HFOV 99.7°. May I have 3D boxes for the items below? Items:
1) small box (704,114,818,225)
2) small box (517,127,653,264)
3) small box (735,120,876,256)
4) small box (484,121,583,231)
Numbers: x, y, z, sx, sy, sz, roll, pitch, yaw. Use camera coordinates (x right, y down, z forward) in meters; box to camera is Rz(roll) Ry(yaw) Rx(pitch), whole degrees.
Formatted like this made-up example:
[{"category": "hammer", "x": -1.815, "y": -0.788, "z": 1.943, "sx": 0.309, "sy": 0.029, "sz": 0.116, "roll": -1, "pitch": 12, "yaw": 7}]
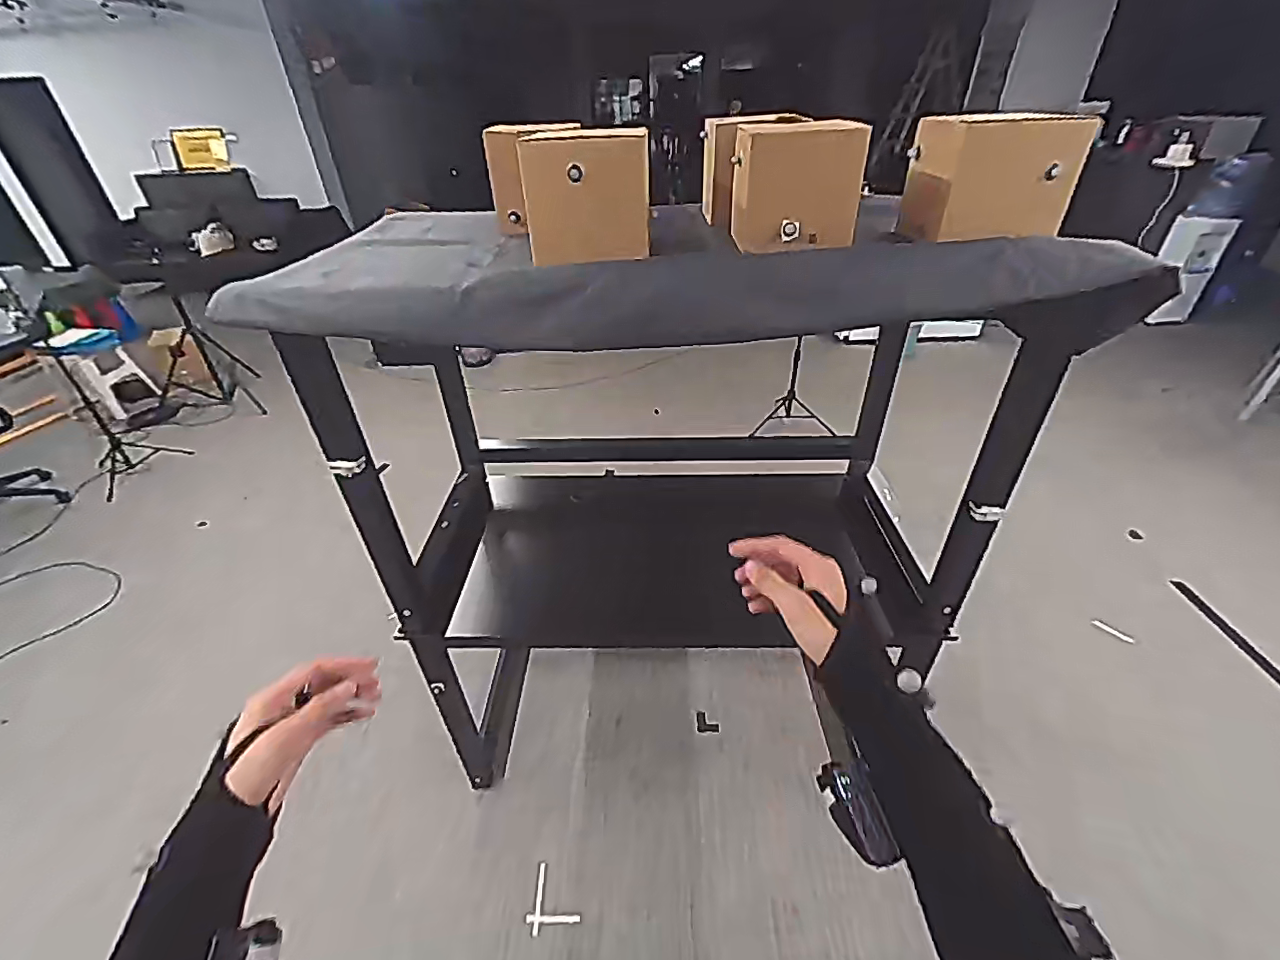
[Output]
[{"category": "small box", "x": 0.221, "y": -0.595, "z": 1.035, "sx": 0.179, "sy": 0.176, "sz": 0.168, "roll": -1, "pitch": 35, "yaw": 1}, {"category": "small box", "x": -0.072, "y": -0.434, "z": 0.826, "sx": 0.179, "sy": 0.176, "sz": 0.168, "roll": 0, "pitch": 36, "yaw": 3}, {"category": "small box", "x": 0.241, "y": -0.455, "z": 0.840, "sx": 0.168, "sy": 0.176, "sz": 0.179, "roll": -1, "pitch": 35, "yaw": 4}, {"category": "small box", "x": -0.187, "y": -0.581, "z": 1.037, "sx": 0.168, "sy": 0.176, "sz": 0.179, "roll": -3, "pitch": 35, "yaw": -1}]
